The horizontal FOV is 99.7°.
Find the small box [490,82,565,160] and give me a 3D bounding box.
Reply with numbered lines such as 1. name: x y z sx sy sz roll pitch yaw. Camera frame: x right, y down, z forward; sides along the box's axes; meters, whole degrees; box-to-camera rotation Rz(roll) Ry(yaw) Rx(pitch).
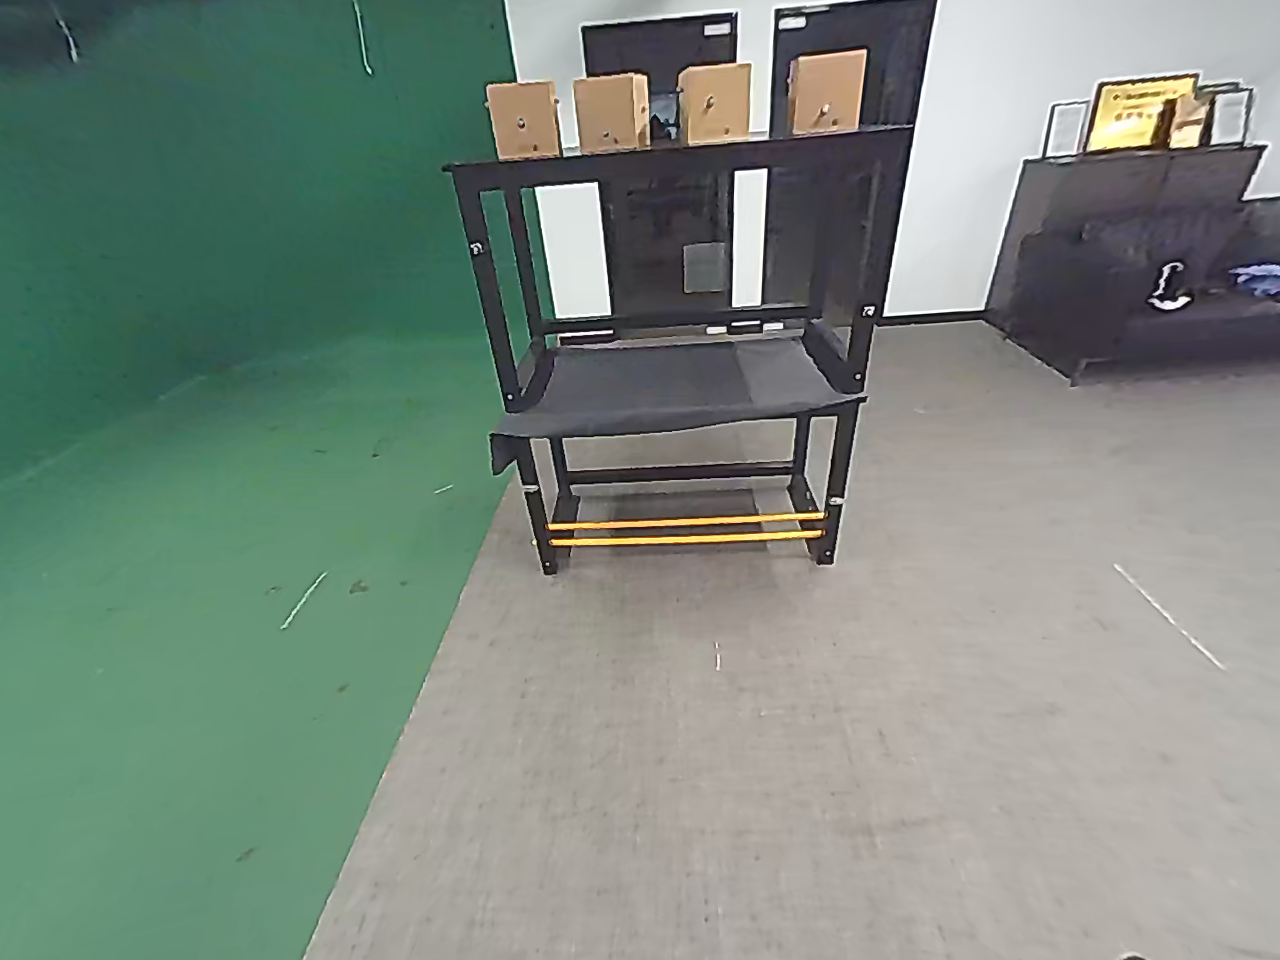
1. small box: -0.306 -0.997 1.508 0.168 0.176 0.179 -4 33 0

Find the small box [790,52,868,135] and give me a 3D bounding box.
1. small box: 0.500 -1.033 1.455 0.168 0.176 0.179 0 34 8

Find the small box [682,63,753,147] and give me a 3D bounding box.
1. small box: 0.207 -1.013 1.470 0.168 0.176 0.179 -5 33 -1
